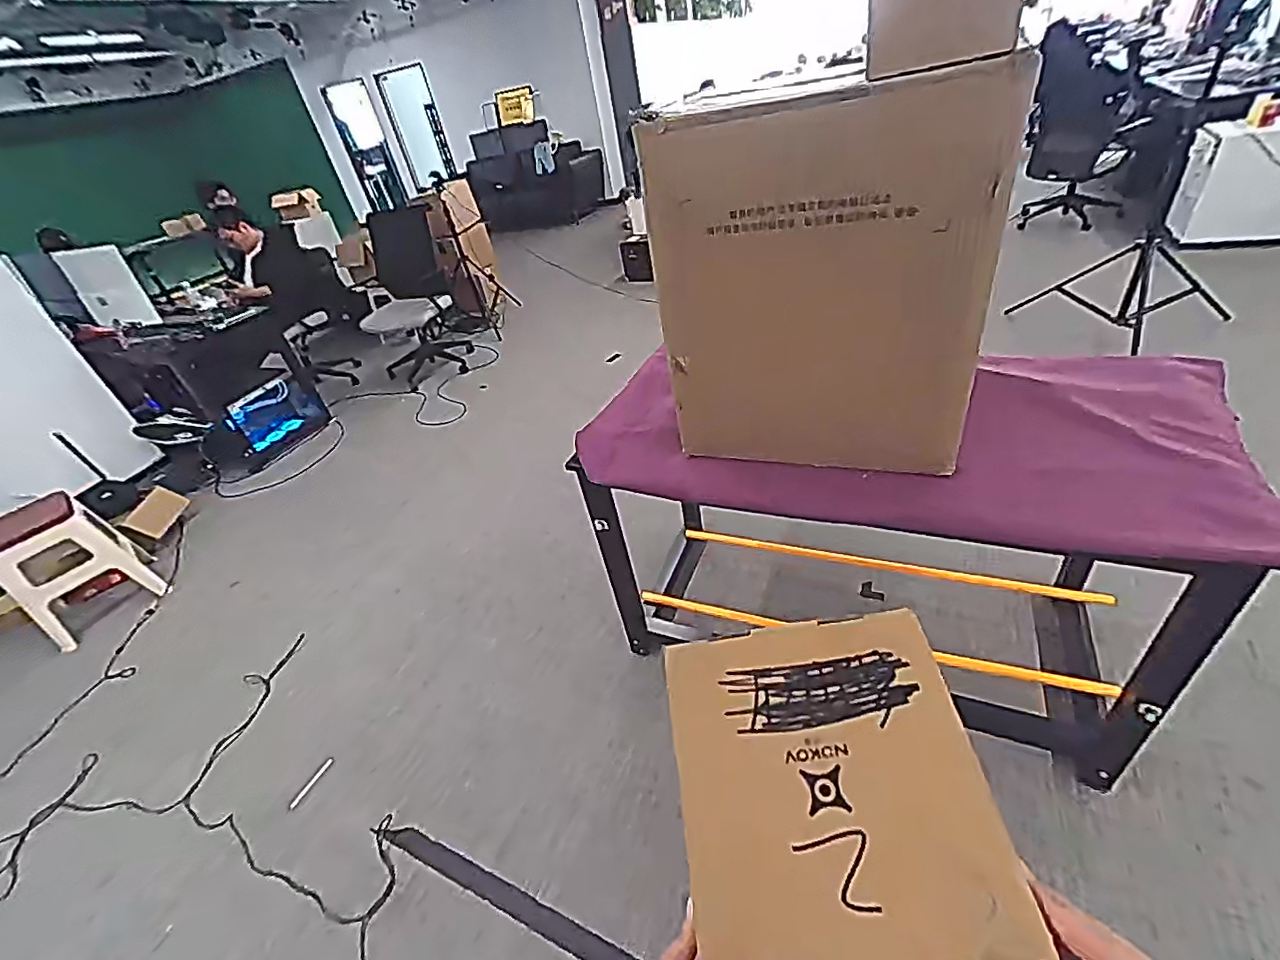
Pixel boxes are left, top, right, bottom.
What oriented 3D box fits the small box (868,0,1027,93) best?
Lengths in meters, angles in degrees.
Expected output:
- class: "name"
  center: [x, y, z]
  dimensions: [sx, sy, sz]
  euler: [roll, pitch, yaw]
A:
- class: "small box"
  center: [0.383, -0.609, 0.672]
  dimensions: [0.168, 0.176, 0.179]
  euler: [8, 42, 26]
